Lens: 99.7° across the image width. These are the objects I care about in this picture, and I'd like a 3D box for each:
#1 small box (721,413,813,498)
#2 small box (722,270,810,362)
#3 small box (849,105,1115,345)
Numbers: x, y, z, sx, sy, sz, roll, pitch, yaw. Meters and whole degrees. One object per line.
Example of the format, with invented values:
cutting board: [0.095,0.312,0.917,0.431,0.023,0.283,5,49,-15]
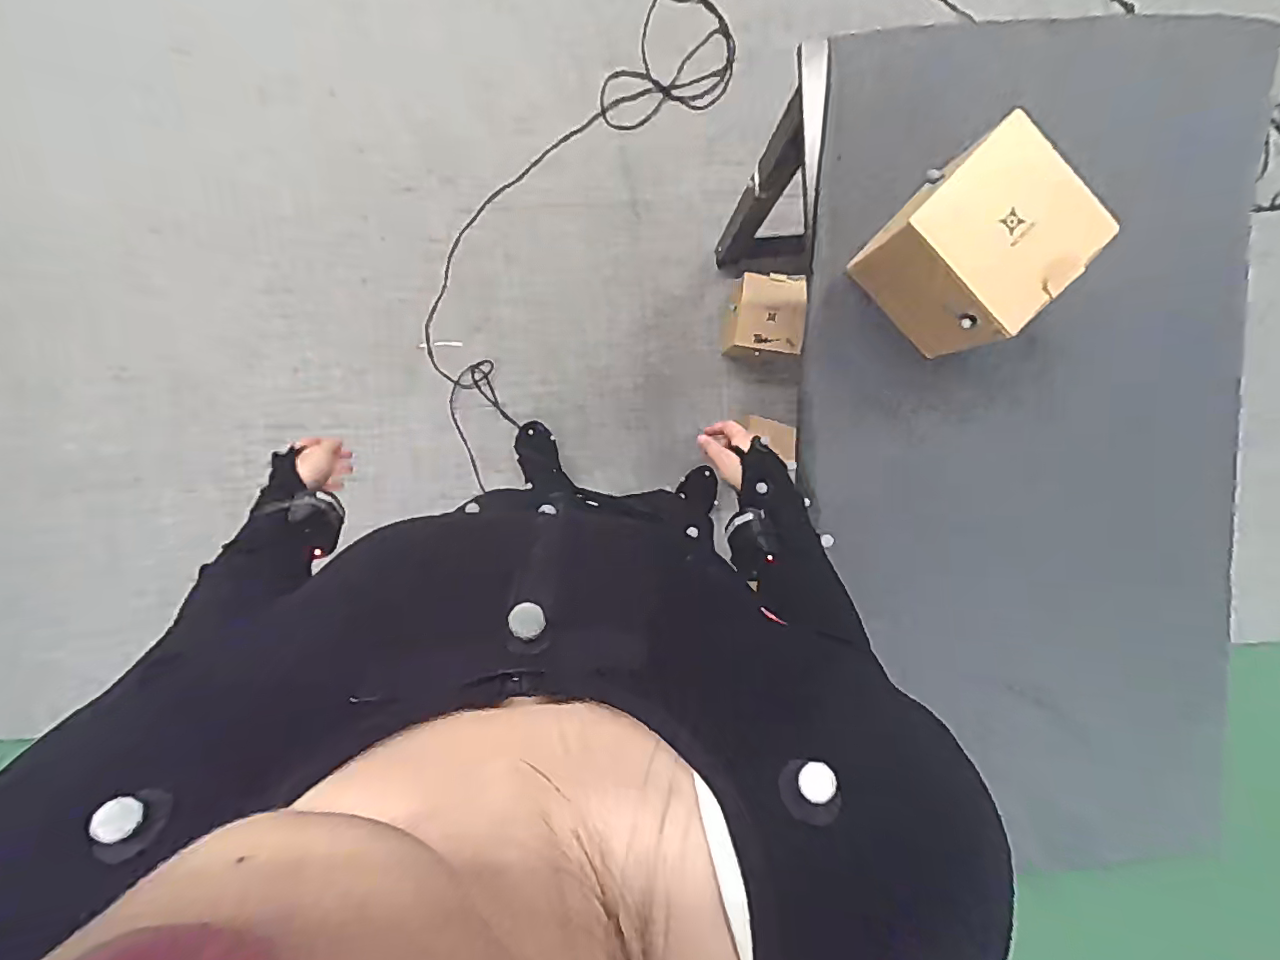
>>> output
small box: [0.321,-0.065,1.405,0.168,0.176,0.179,16,93,-4]
small box: [0.312,-0.411,1.376,0.168,0.176,0.179,8,94,-3]
small box: [0.394,-0.288,0.659,0.179,0.176,0.168,44,92,-5]
